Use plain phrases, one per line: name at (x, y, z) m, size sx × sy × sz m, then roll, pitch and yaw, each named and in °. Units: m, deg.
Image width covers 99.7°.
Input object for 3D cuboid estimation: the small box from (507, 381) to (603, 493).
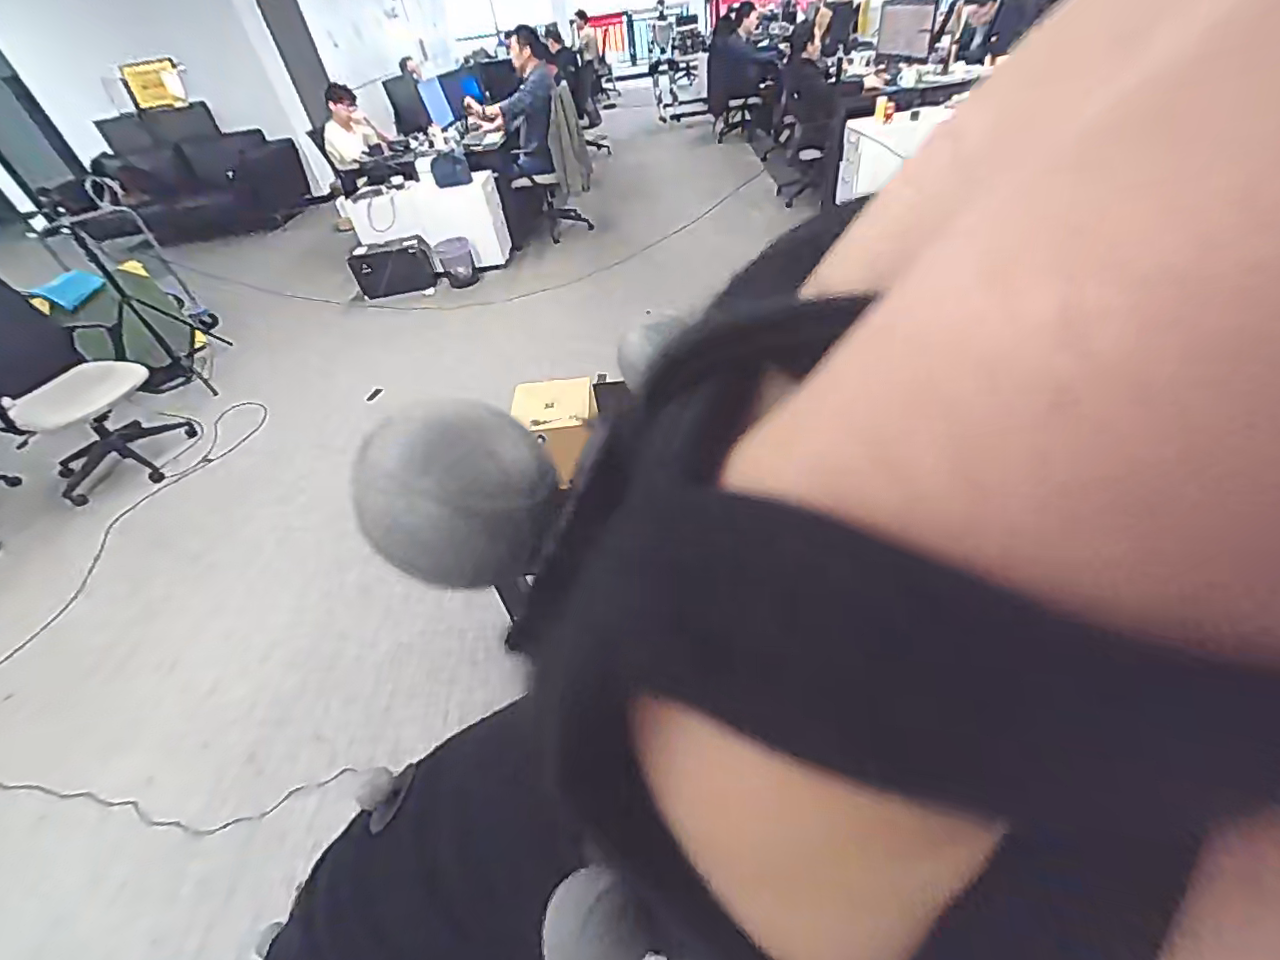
small box at (-0.176, -0.093, 1.175) m, size 0.168 × 0.176 × 0.179 m, roll -6°, pitch 42°, yaw 3°
